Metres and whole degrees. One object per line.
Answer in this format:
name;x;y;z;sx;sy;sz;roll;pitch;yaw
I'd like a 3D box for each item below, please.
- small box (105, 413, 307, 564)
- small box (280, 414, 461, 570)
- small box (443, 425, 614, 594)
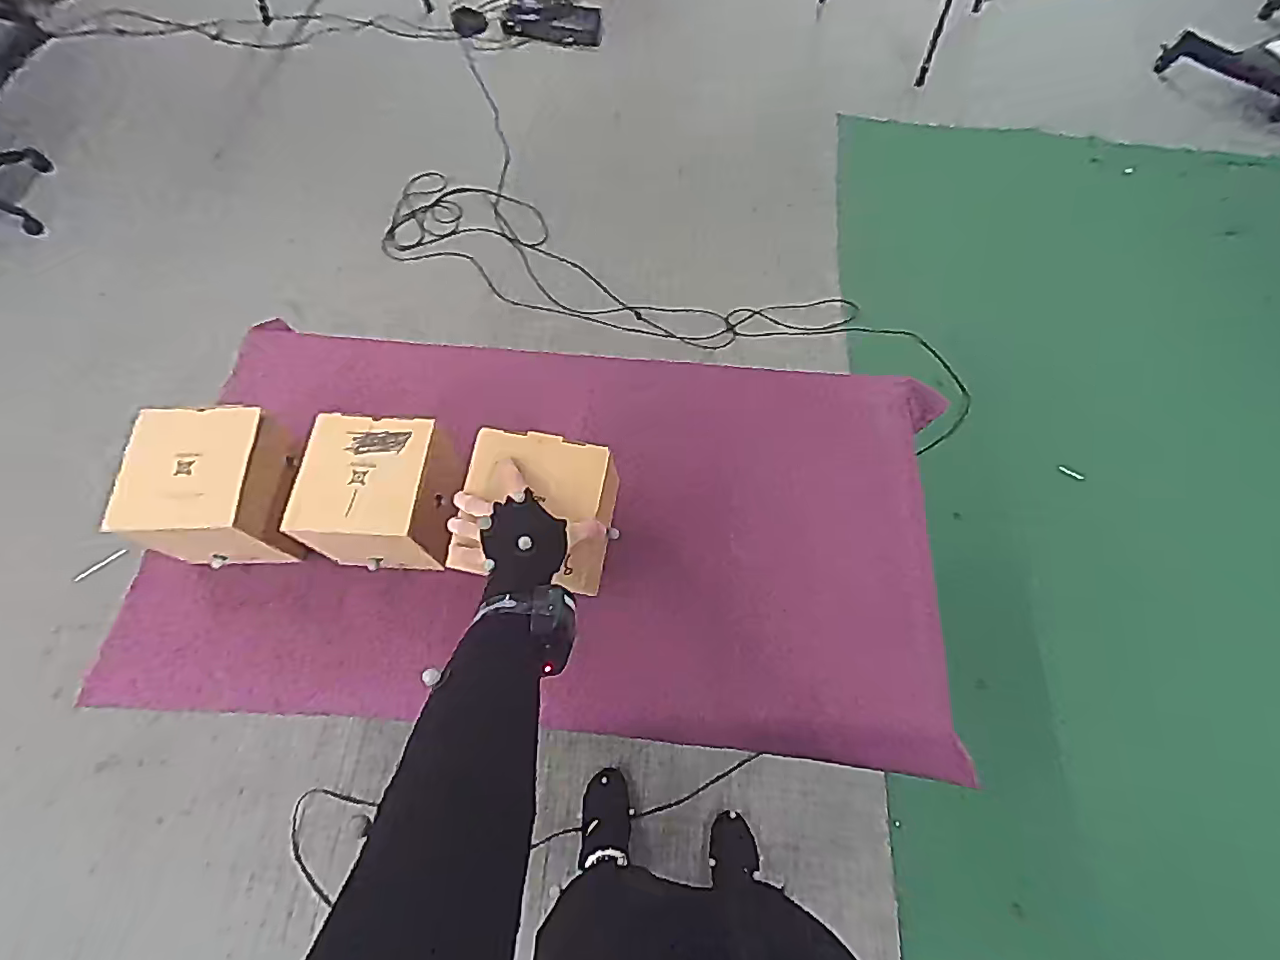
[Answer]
small box;-0.605;0.017;0.799;0.168;0.176;0.179;-1;66;-1
small box;-0.378;0.023;0.799;0.168;0.176;0.179;3;67;1
small box;-0.132;0.048;0.719;0.168;0.176;0.179;10;77;5
